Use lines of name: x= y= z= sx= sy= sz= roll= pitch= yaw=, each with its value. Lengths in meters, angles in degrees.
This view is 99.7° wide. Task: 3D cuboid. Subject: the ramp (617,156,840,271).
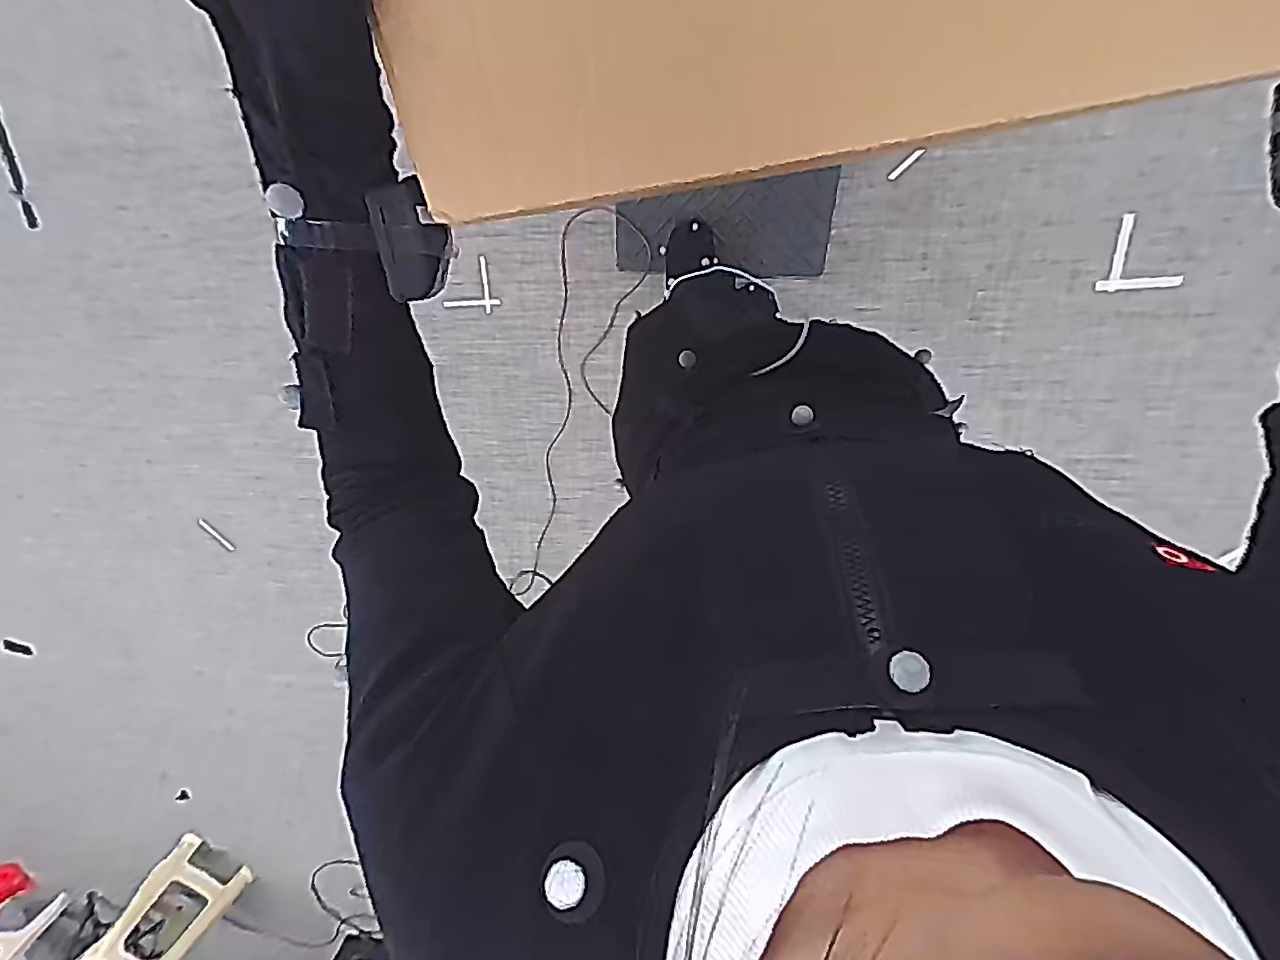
ramp: x=0.188 y=-0.932 z=1.040 sx=0.509 sy=0.206 sz=0.991 roll=2 pitch=112 yaw=6

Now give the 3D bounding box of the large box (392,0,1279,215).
large box: x=0.080 y=-0.368 z=0.327 sx=0.408 sy=0.320 sz=0.320 roll=-6 pitch=117 yaw=9
